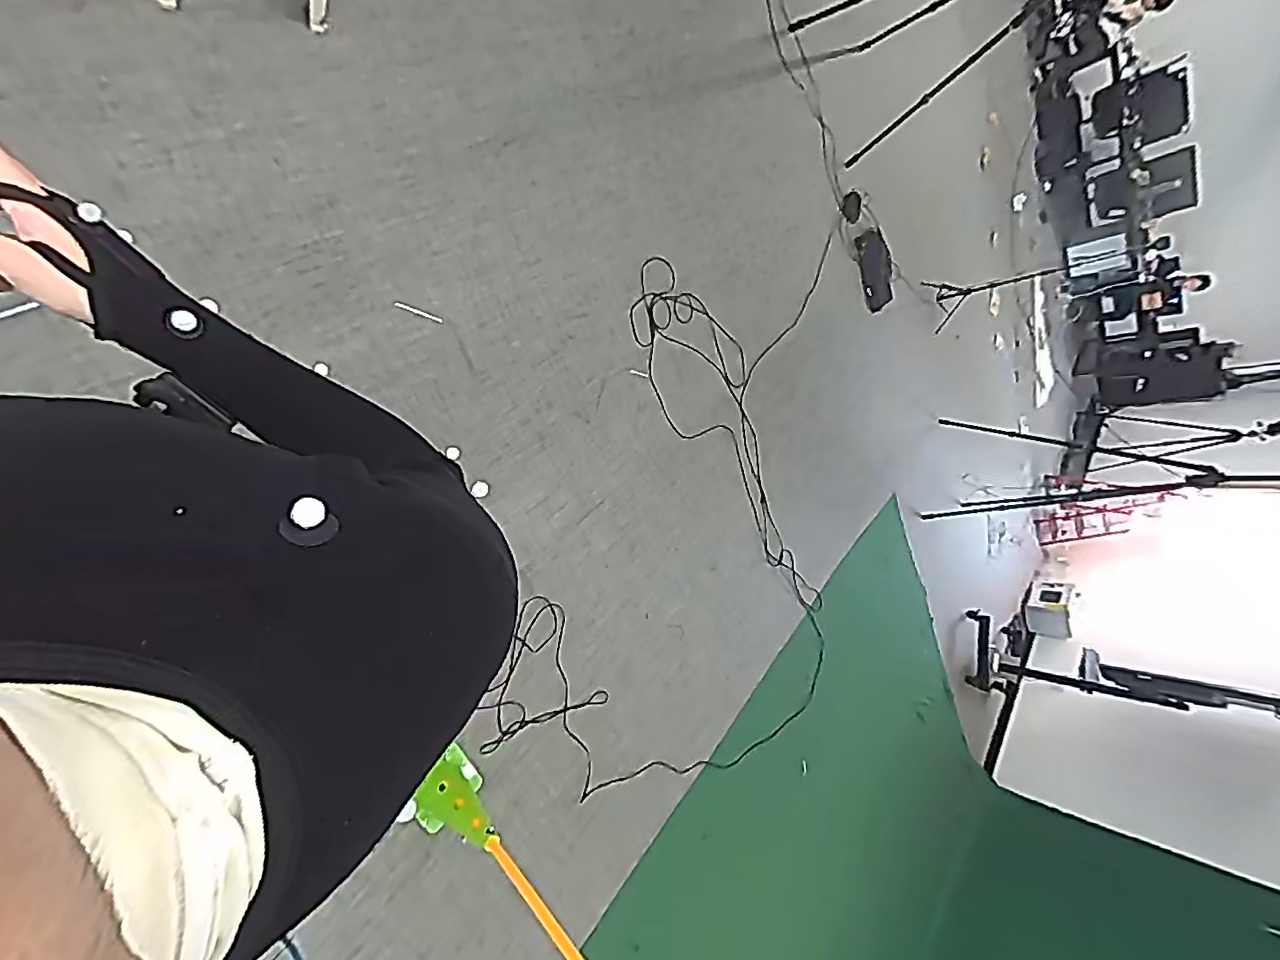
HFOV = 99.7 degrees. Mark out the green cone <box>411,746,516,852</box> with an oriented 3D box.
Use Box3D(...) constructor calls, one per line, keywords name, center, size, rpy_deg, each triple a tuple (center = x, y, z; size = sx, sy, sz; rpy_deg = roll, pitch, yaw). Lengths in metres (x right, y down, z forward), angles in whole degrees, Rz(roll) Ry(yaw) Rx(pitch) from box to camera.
Box3D(name="green cone", center=(-0.460, 0.953, 1.533), size=(0.202, 0.368, 0.200), rpy_deg=(-41, 115, -35))
